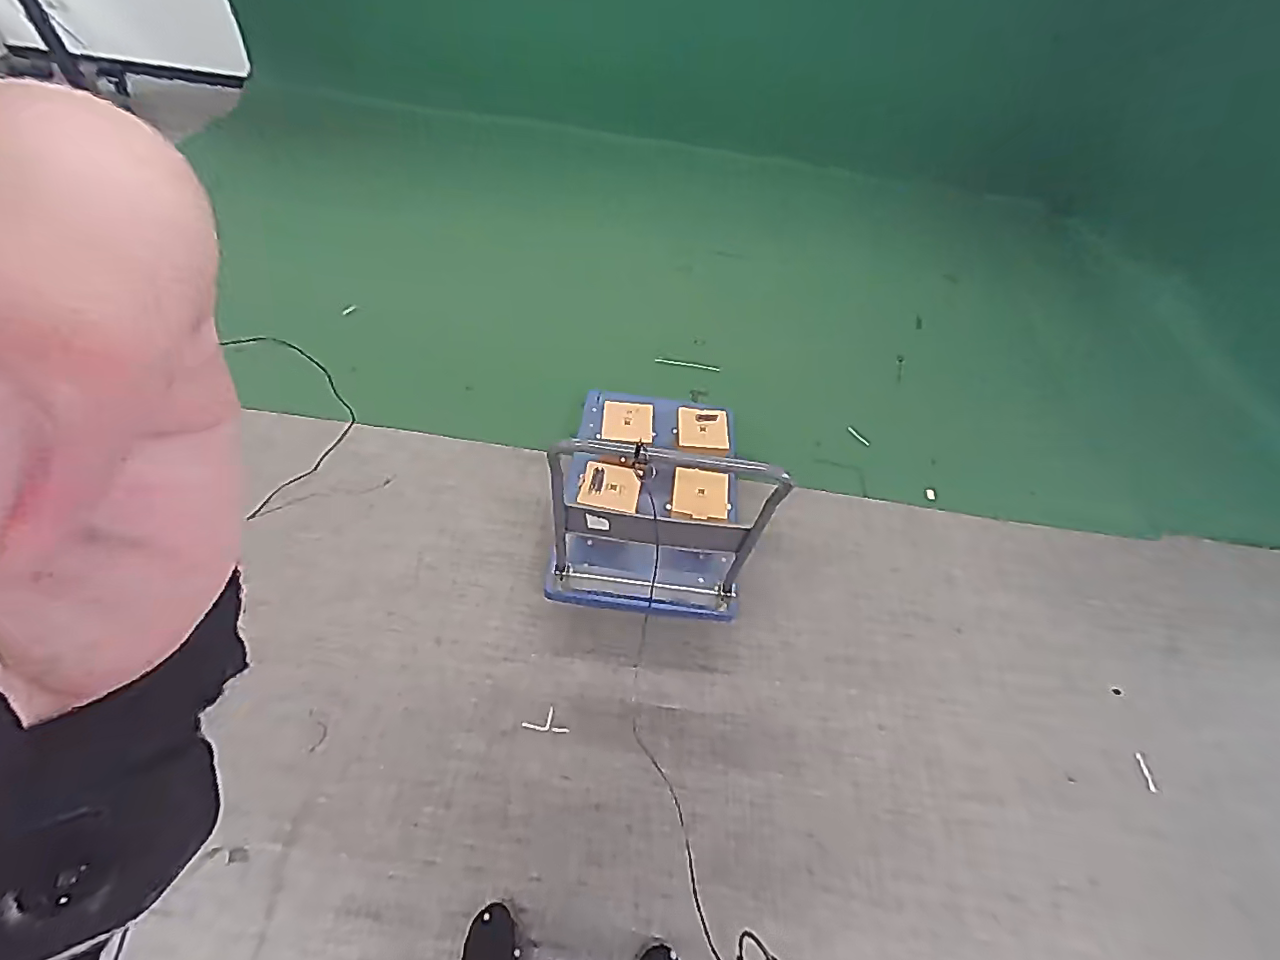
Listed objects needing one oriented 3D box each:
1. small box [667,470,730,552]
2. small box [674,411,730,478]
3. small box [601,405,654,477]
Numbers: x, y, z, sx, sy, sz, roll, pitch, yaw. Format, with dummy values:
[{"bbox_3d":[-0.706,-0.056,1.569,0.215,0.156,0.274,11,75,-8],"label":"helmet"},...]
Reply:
[{"bbox_3d":[0.181,0.098,1.681,0.168,0.176,0.179,8,52,0],"label":"small box"},{"bbox_3d":[0.207,-0.112,1.849,0.168,0.176,0.179,4,52,-2],"label":"small box"},{"bbox_3d":[-0.044,-0.130,1.837,0.168,0.176,0.179,5,51,-3],"label":"small box"}]
